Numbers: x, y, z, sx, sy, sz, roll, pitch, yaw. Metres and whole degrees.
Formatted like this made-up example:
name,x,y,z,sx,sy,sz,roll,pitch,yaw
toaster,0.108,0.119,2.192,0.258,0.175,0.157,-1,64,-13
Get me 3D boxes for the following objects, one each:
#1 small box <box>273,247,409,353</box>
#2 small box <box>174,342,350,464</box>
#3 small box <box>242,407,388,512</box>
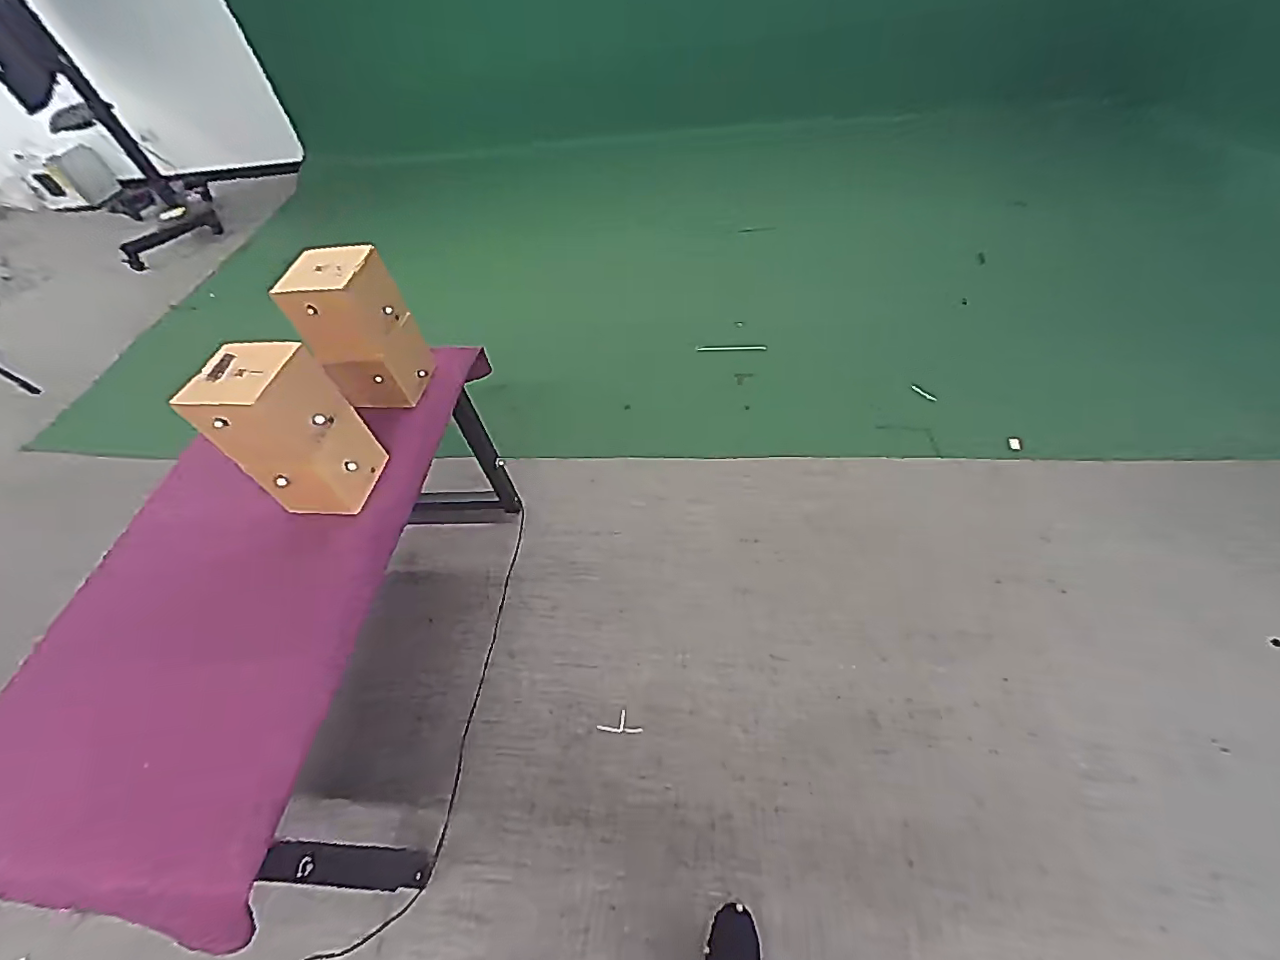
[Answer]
name,x,y,z,sx,sy,sz,roll,pitch,yaw
small box,-0.665,-0.403,1.225,0.179,0.176,0.168,1,54,10
small box,-0.706,-0.144,1.033,0.179,0.176,0.168,3,53,11
small box,-0.681,-0.042,1.160,0.179,0.176,0.168,1,53,11
